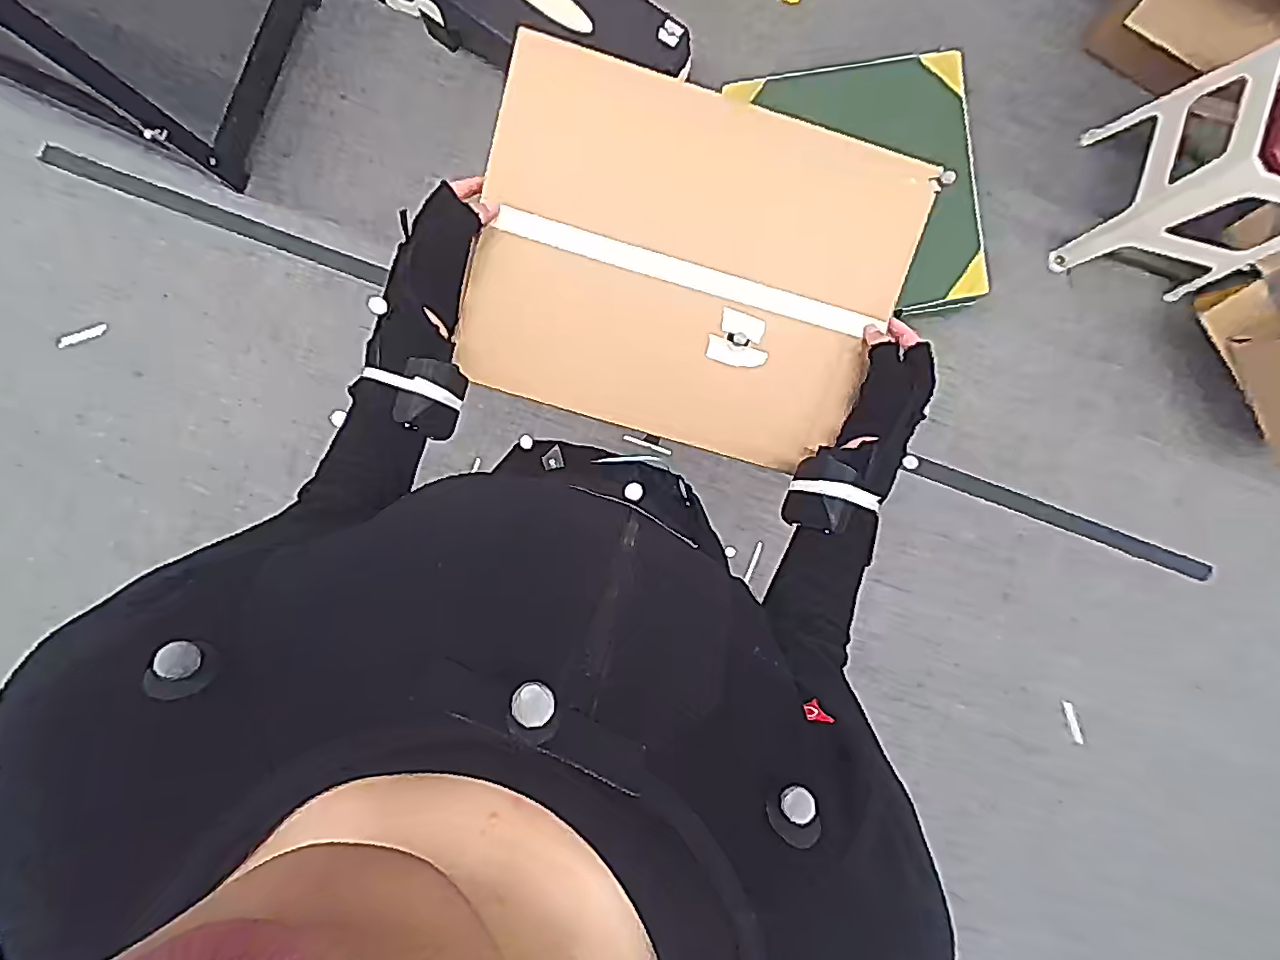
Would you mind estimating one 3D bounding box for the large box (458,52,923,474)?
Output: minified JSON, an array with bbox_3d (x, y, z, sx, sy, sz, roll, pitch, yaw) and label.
[{"bbox_3d":[0.040,-0.226,0.679,0.408,0.320,0.320,16,101,-4],"label":"large box"}]
